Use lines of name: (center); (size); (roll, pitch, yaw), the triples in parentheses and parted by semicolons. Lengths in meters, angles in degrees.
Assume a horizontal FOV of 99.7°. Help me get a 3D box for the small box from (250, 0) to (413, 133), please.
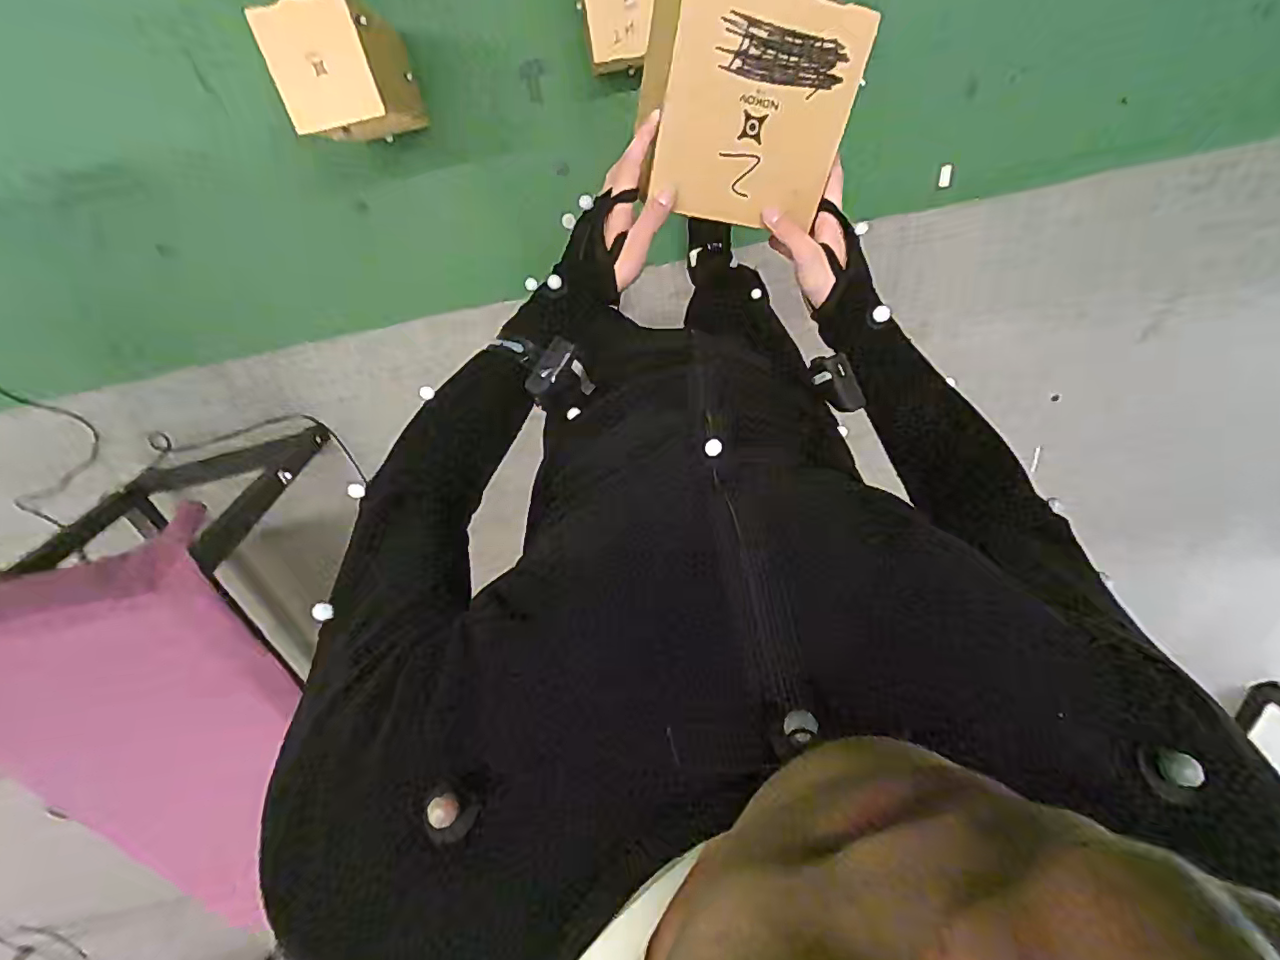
small box: (-0.539, -0.745, 0.979); (0.168, 0.176, 0.179); (-11, 120, 2)

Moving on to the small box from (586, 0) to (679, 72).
small box: (-0.021, -0.954, 1.092); (0.168, 0.176, 0.179); (-10, 121, 0)

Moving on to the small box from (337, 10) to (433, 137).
small box: (-0.554, -0.827, 1.118); (0.168, 0.176, 0.179); (-11, 122, 2)
